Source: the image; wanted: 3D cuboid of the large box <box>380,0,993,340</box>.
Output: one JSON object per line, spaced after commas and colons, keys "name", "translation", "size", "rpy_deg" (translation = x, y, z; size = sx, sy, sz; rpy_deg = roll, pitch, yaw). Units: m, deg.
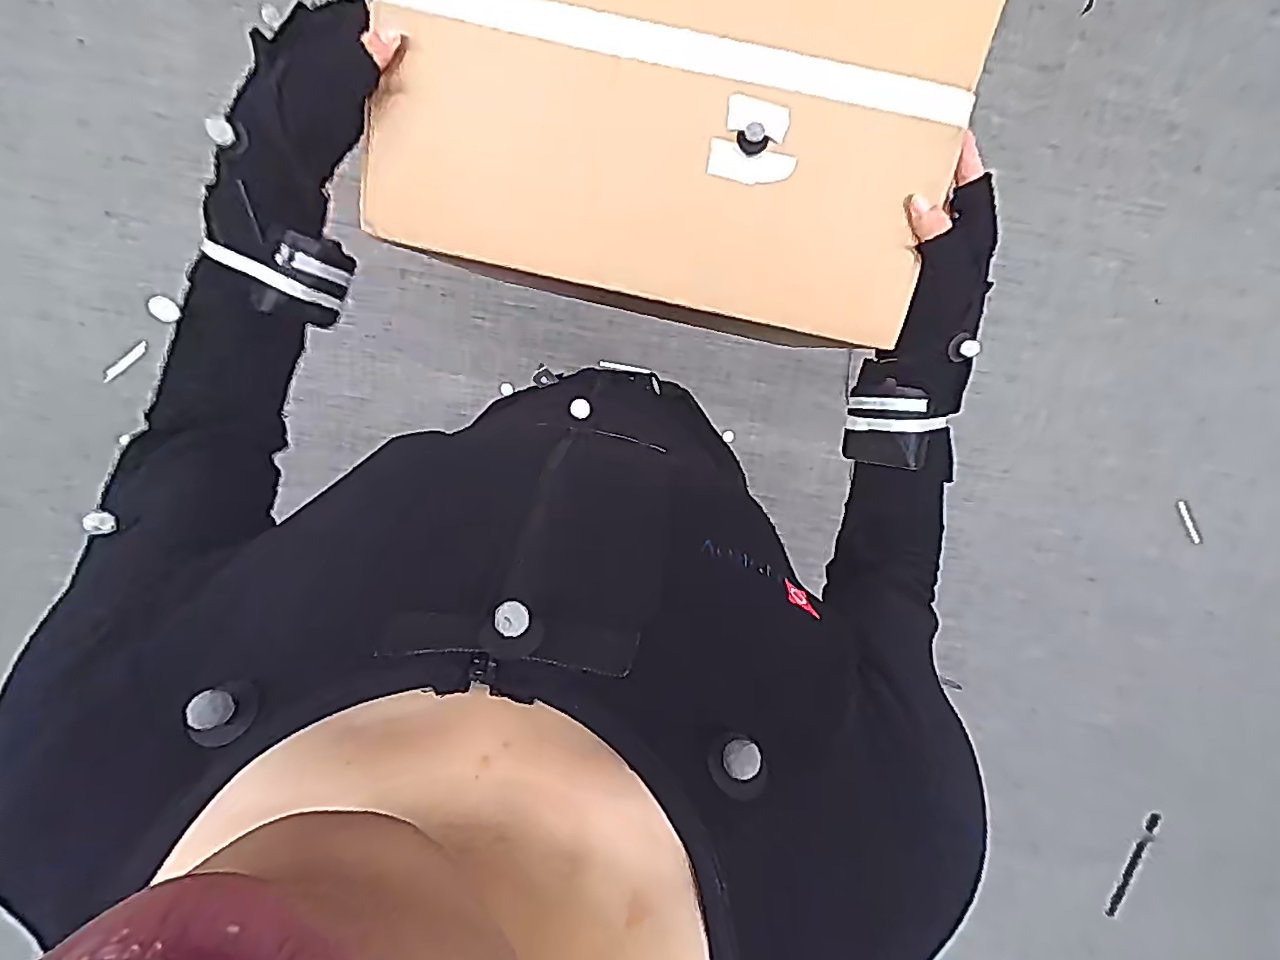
{"name": "large box", "translation": [0.032, -0.330, 0.516], "size": [0.408, 0.320, 0.320], "rpy_deg": [13, 104, 0]}
